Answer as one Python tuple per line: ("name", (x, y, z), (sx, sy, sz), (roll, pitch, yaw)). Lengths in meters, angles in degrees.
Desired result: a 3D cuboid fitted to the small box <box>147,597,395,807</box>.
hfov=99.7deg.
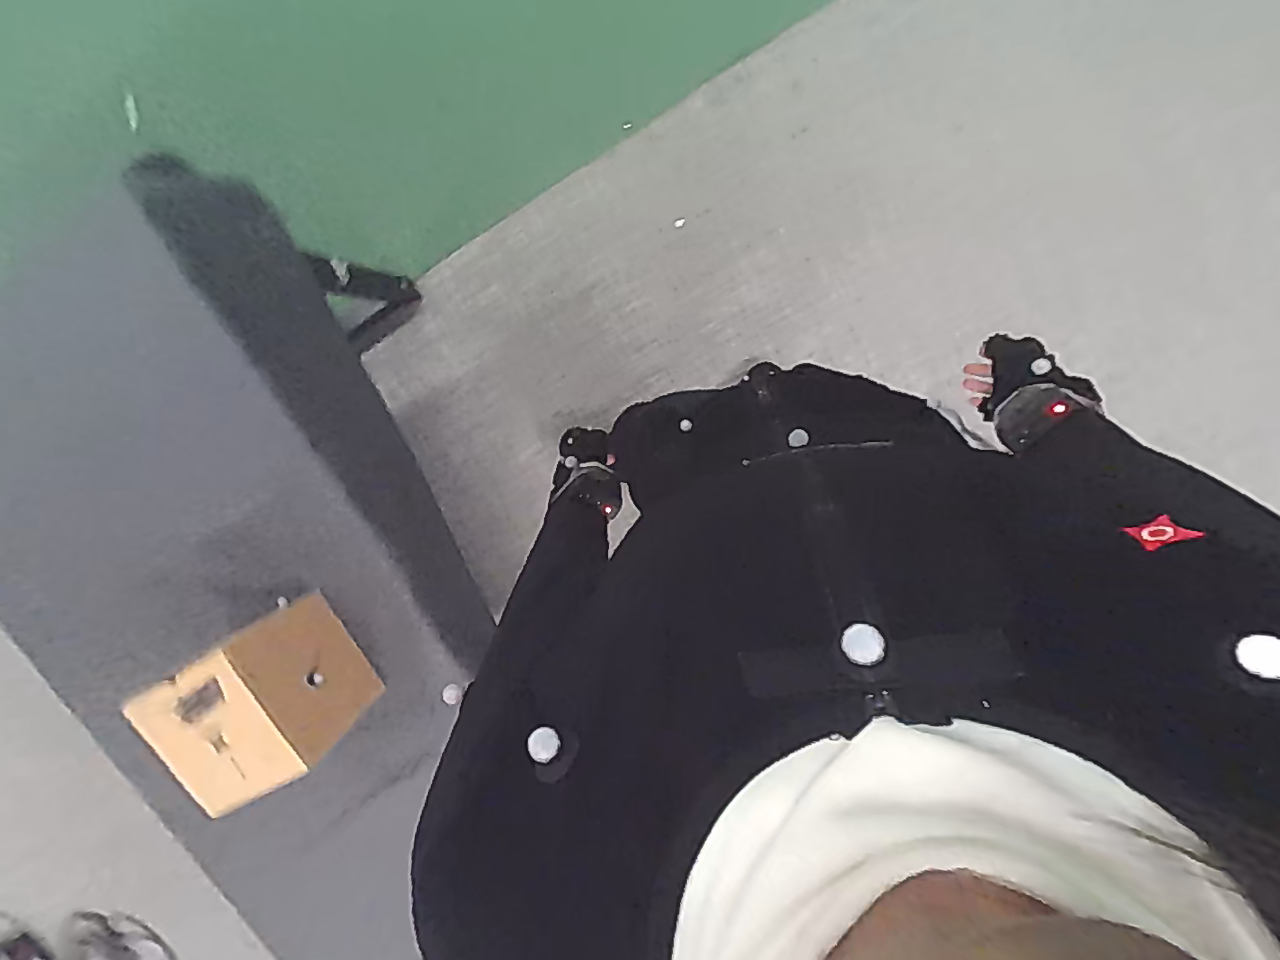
("small box", (-0.477, 0.279, 0.725), (0.168, 0.176, 0.179), (-32, 96, 12))
